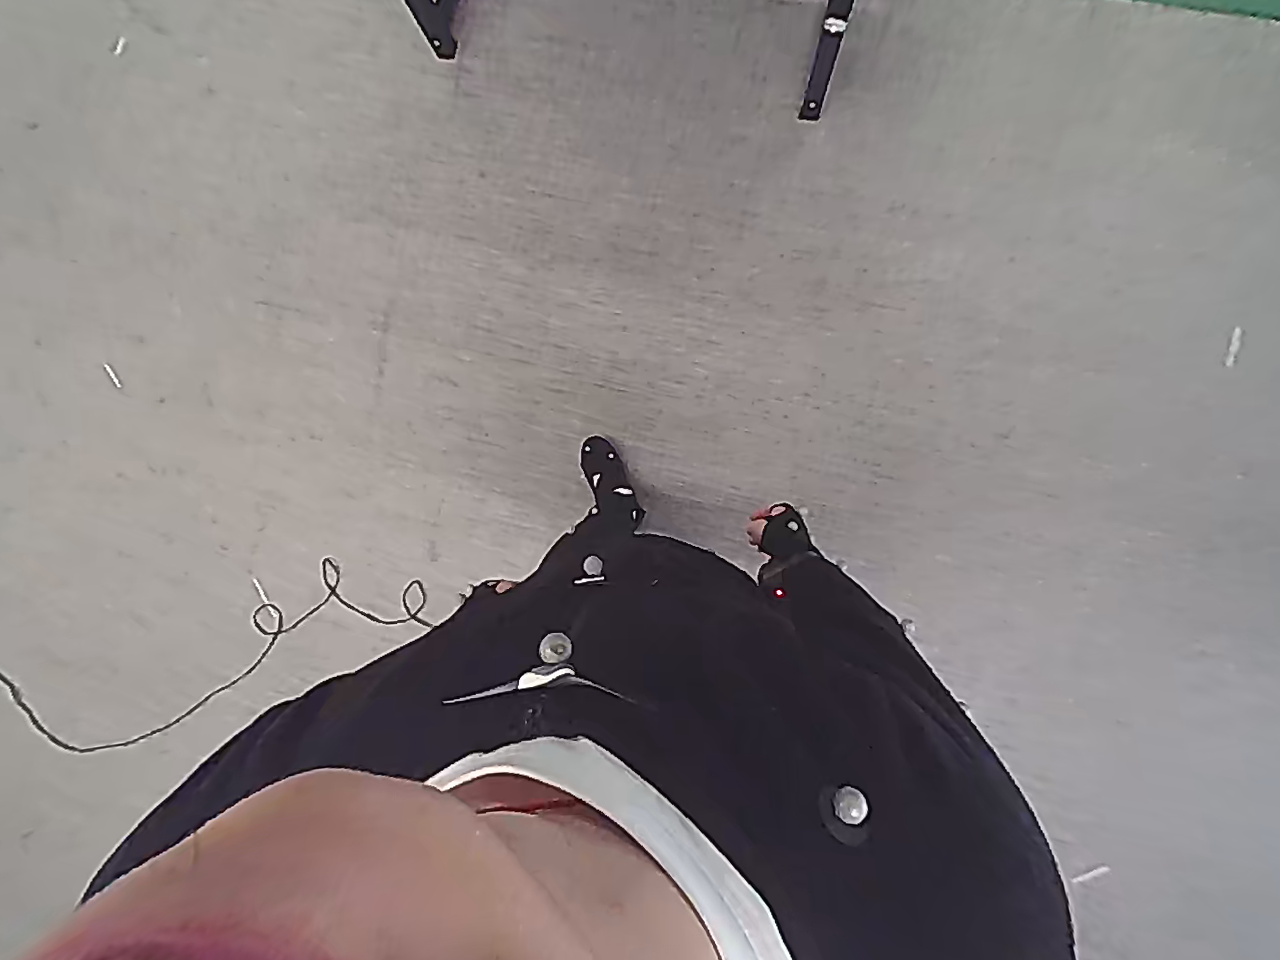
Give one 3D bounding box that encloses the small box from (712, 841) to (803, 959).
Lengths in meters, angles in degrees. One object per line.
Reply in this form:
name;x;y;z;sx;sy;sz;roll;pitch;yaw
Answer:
small box;0.264;0.993;1.261;0.168;0.176;0.179;13;91;6
